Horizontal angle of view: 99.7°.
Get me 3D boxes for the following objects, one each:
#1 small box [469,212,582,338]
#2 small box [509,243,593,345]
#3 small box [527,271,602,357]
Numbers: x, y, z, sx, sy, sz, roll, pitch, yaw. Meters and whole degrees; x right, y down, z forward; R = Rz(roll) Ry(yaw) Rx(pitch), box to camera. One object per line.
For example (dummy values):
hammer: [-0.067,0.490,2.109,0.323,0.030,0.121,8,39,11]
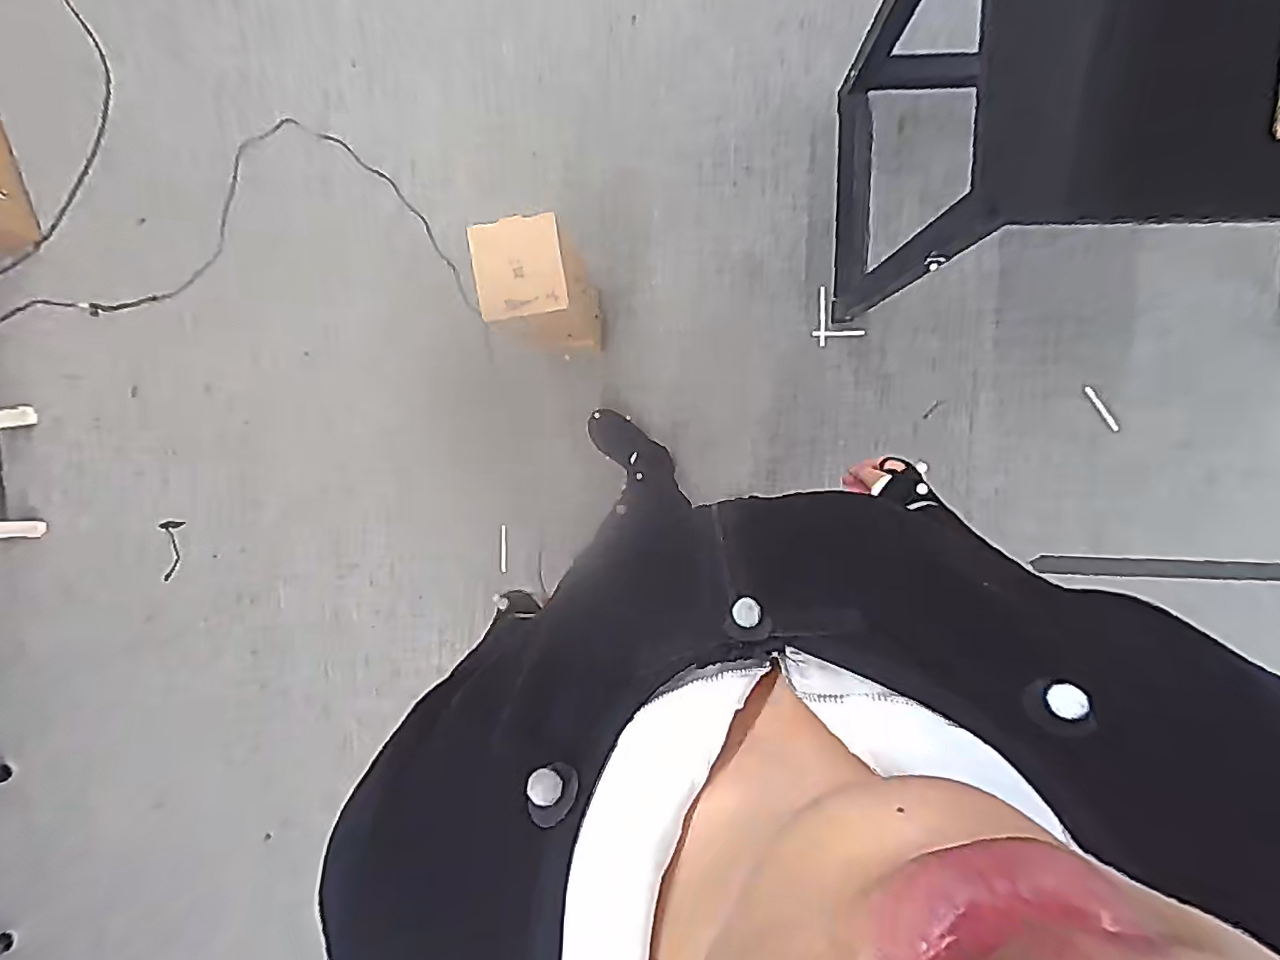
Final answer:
small box: [-0.216,-0.392,1.062,0.168,0.176,0.179,-8,94,4]
small box: [-0.206,-0.410,1.225,0.168,0.176,0.179,-6,93,3]
small box: [-0.193,-0.418,1.387,0.168,0.176,0.179,-3,95,4]
